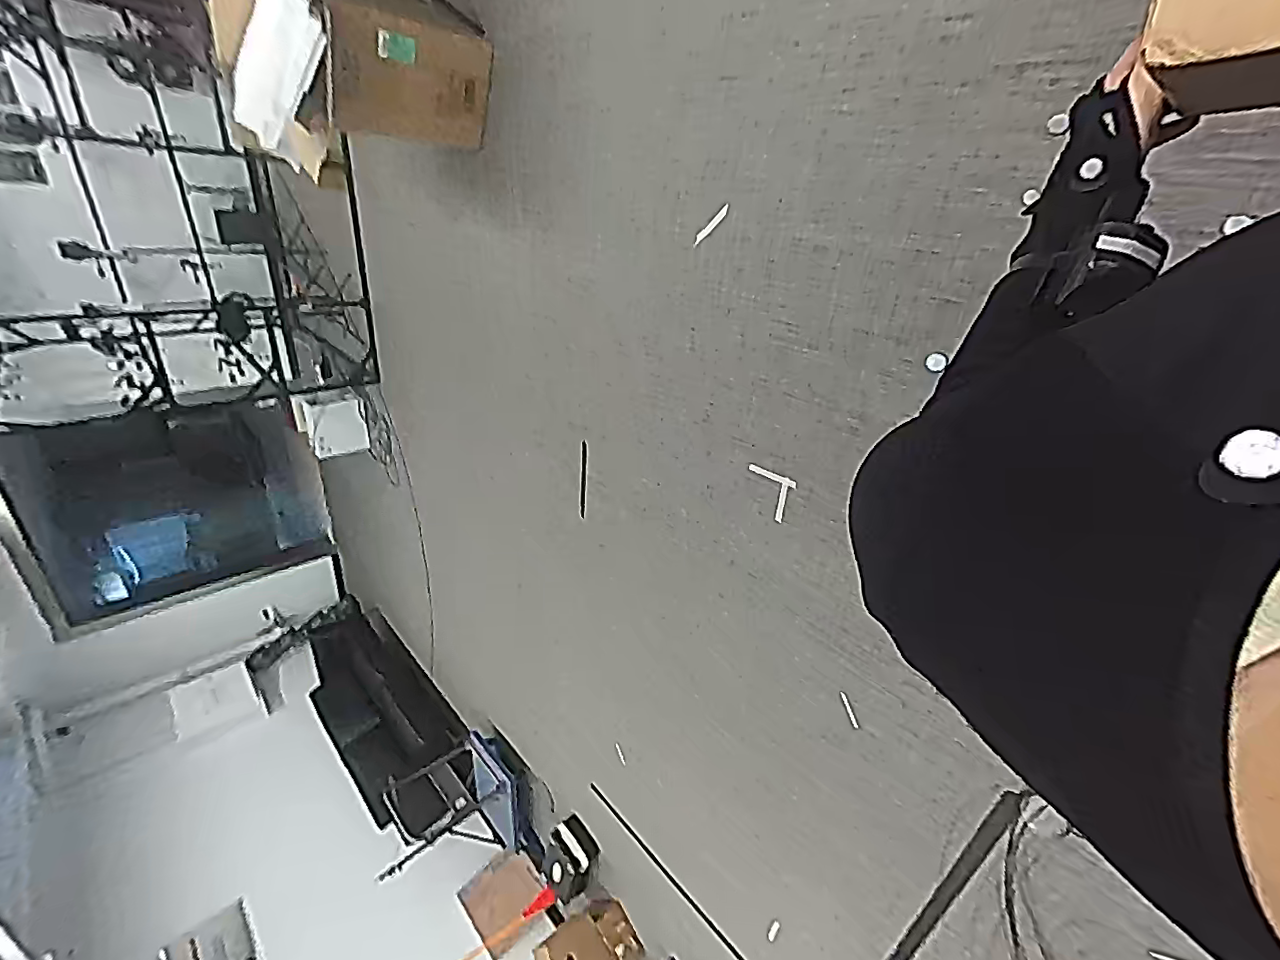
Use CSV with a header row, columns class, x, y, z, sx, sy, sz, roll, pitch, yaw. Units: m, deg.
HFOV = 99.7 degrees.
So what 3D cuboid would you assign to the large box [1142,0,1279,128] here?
class,x,y,z,sx,sy,sz,roll,pitch,yaw
large box,0.451,-0.320,0.147,0.408,0.320,0.320,18,124,39
